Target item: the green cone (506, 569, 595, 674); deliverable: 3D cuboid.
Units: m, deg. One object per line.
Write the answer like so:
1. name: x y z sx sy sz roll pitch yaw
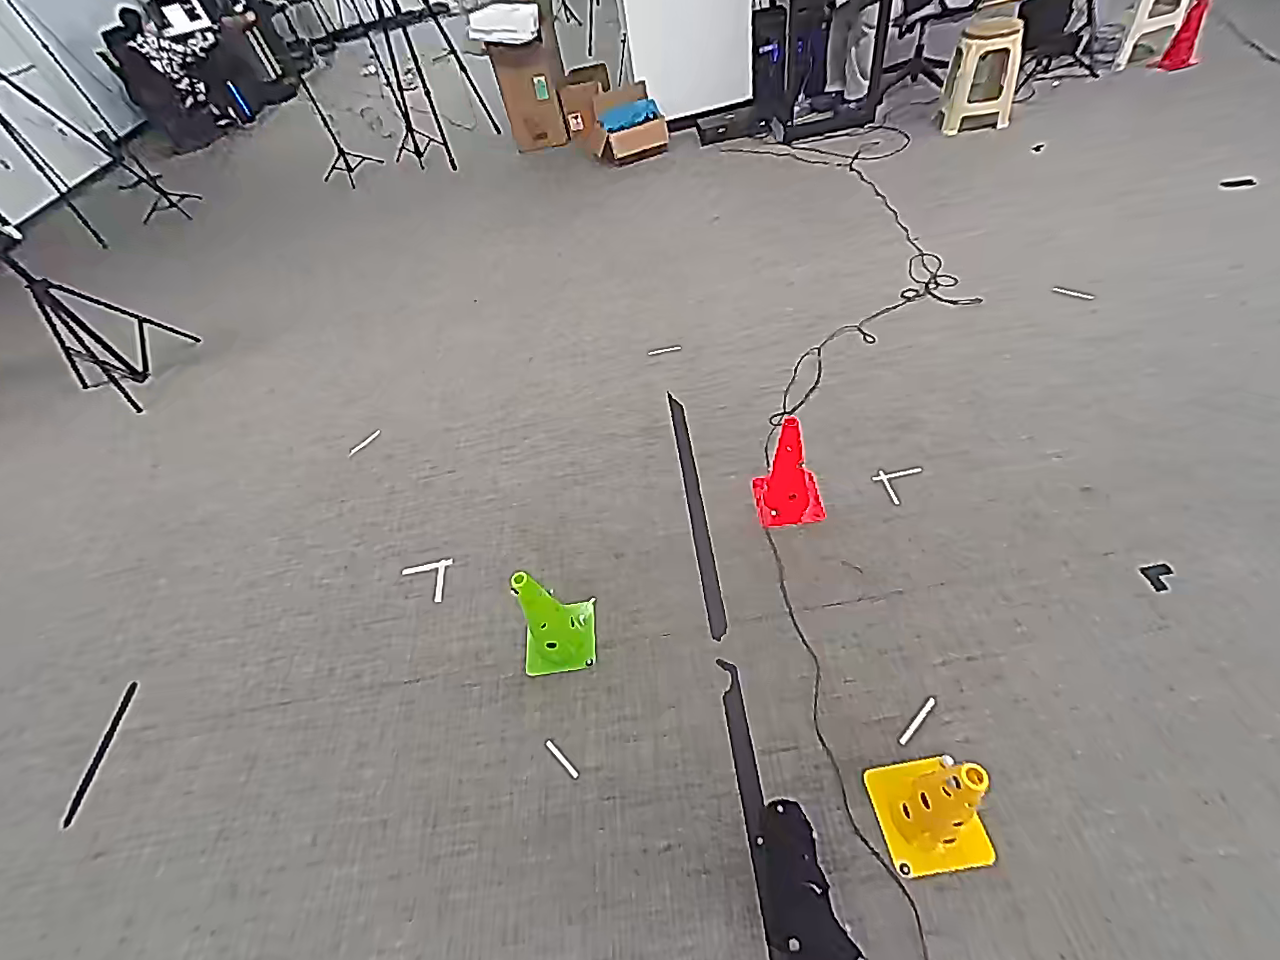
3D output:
1. green cone: -0.260 0.336 1.418 0.202 0.368 0.200 -11 49 5

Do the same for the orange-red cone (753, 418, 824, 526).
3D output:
1. orange-red cone: 0.439 -0.046 1.584 0.199 0.360 0.198 -6 51 7
